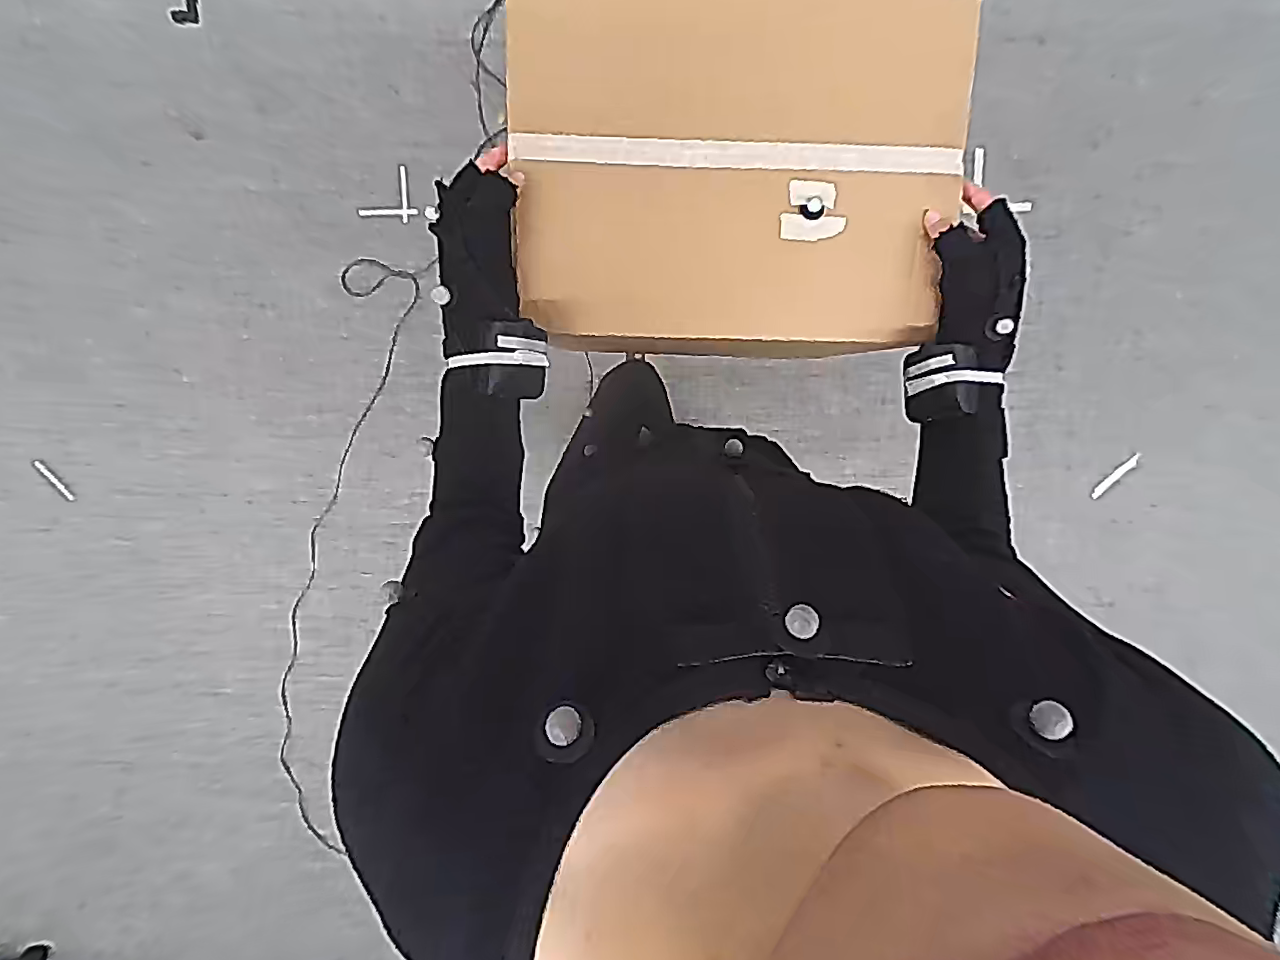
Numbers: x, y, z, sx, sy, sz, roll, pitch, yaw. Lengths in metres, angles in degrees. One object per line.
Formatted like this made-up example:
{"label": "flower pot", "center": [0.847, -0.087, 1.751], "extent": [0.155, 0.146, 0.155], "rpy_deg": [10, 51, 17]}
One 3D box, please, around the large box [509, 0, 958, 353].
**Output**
{"label": "large box", "center": [0.076, -0.319, 0.639], "extent": [0.408, 0.320, 0.320], "rpy_deg": [1, 100, -2]}
